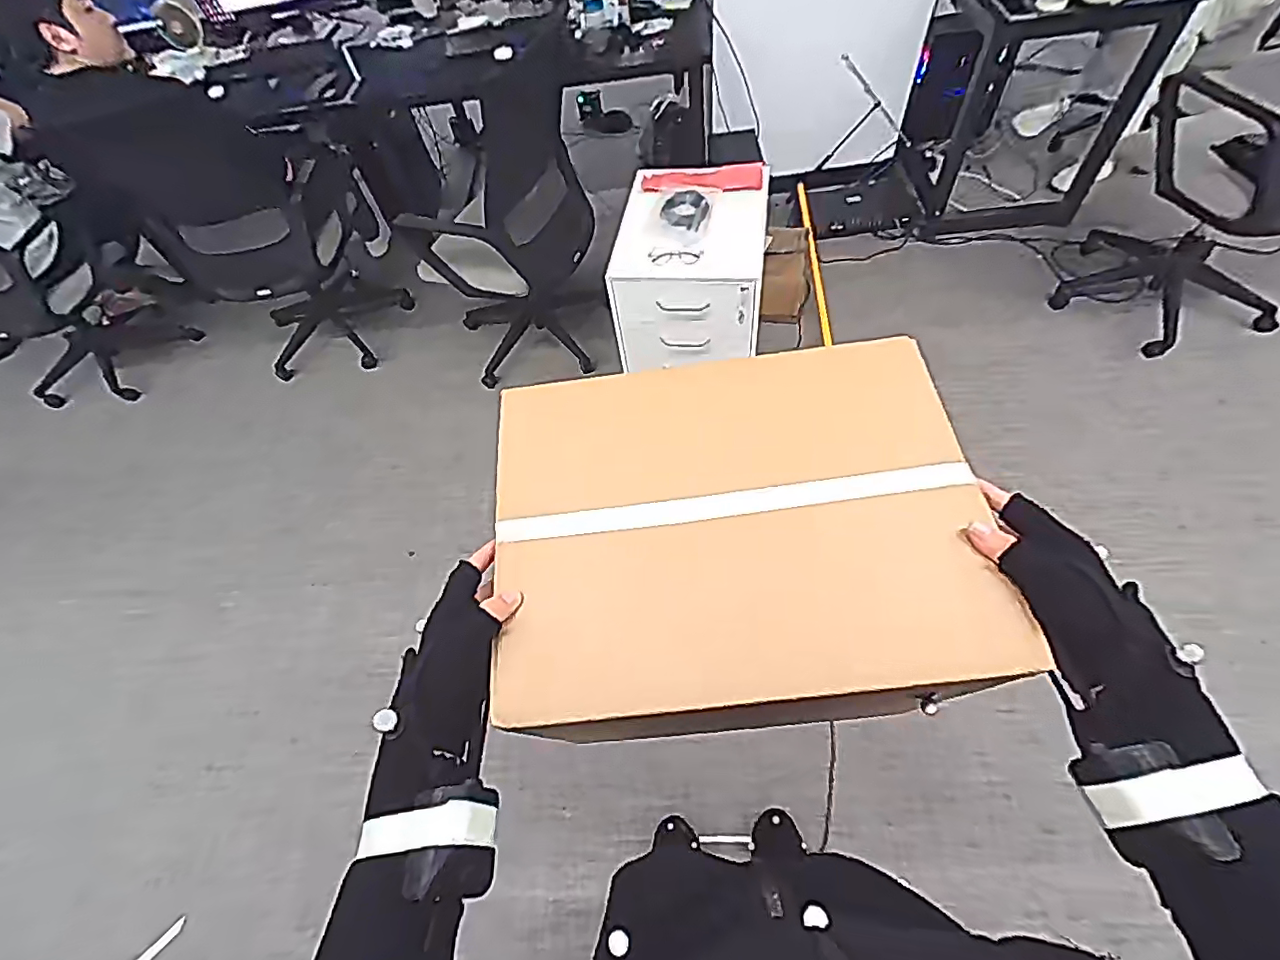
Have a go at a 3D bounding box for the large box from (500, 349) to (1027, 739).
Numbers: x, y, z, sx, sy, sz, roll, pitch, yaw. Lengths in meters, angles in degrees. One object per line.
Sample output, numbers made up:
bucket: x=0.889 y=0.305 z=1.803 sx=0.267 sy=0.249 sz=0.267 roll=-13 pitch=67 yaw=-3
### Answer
large box: x=0.091 y=0.097 z=0.601 sx=0.408 sy=0.320 sz=0.320 roll=-7 pitch=61 yaw=2
